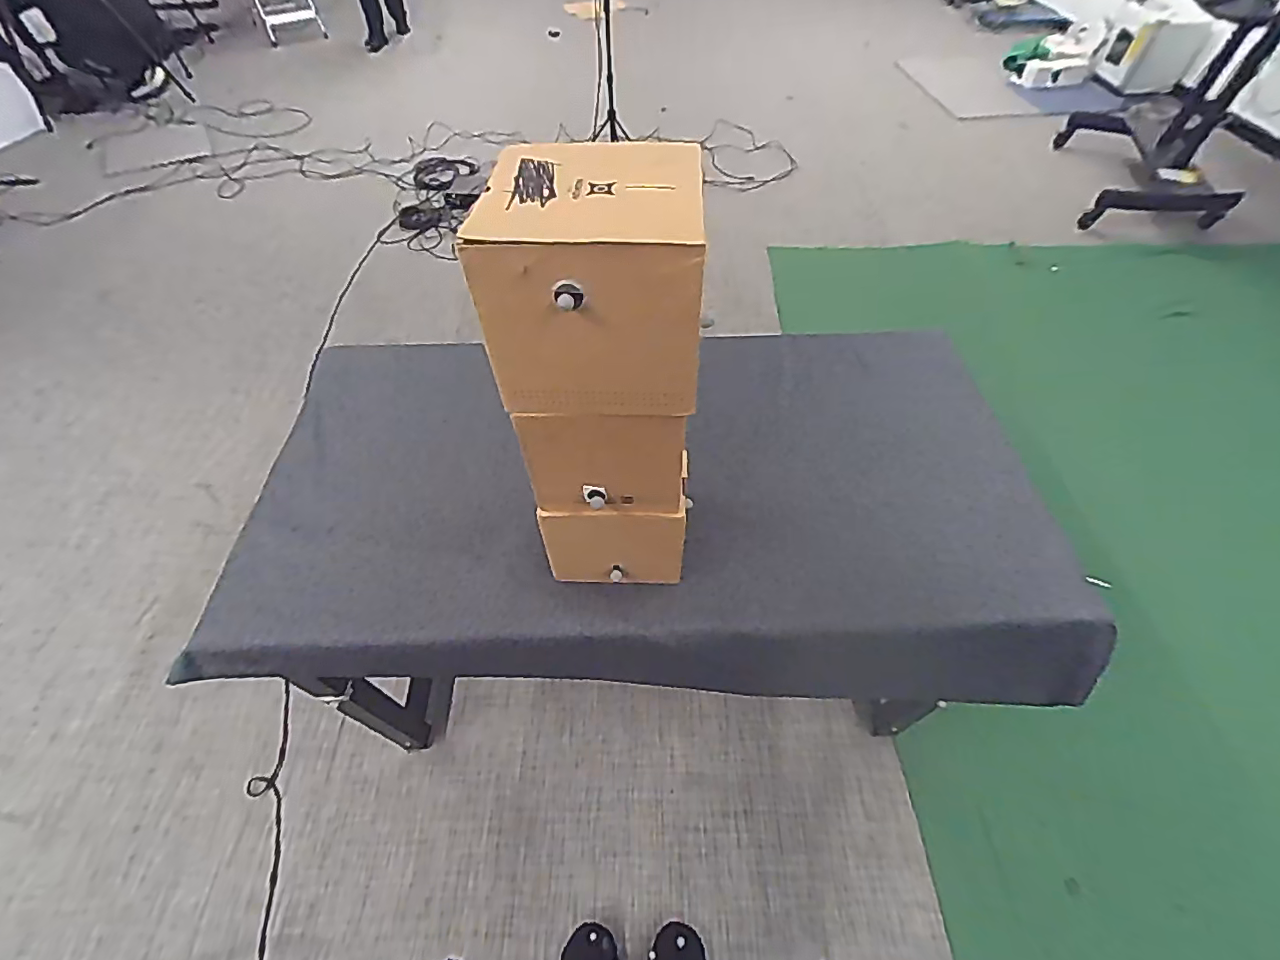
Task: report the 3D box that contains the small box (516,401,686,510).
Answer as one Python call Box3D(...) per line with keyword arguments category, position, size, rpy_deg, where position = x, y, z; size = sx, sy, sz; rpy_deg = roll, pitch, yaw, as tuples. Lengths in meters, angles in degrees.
Box3D(category="small box", position=(-0.035, -0.083, 0.625), size=(0.168, 0.176, 0.179), rpy_deg=(-1, 54, 2))

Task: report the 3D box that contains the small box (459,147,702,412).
Box3D(category="small box", position=(-0.037, -0.177, 0.490), size=(0.179, 0.176, 0.168), rpy_deg=(2, 53, 2))

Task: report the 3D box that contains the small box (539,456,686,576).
Box3D(category="small box", position=(-0.032, 0.023, 0.748), size=(0.179, 0.176, 0.168), rpy_deg=(1, 52, 1))
